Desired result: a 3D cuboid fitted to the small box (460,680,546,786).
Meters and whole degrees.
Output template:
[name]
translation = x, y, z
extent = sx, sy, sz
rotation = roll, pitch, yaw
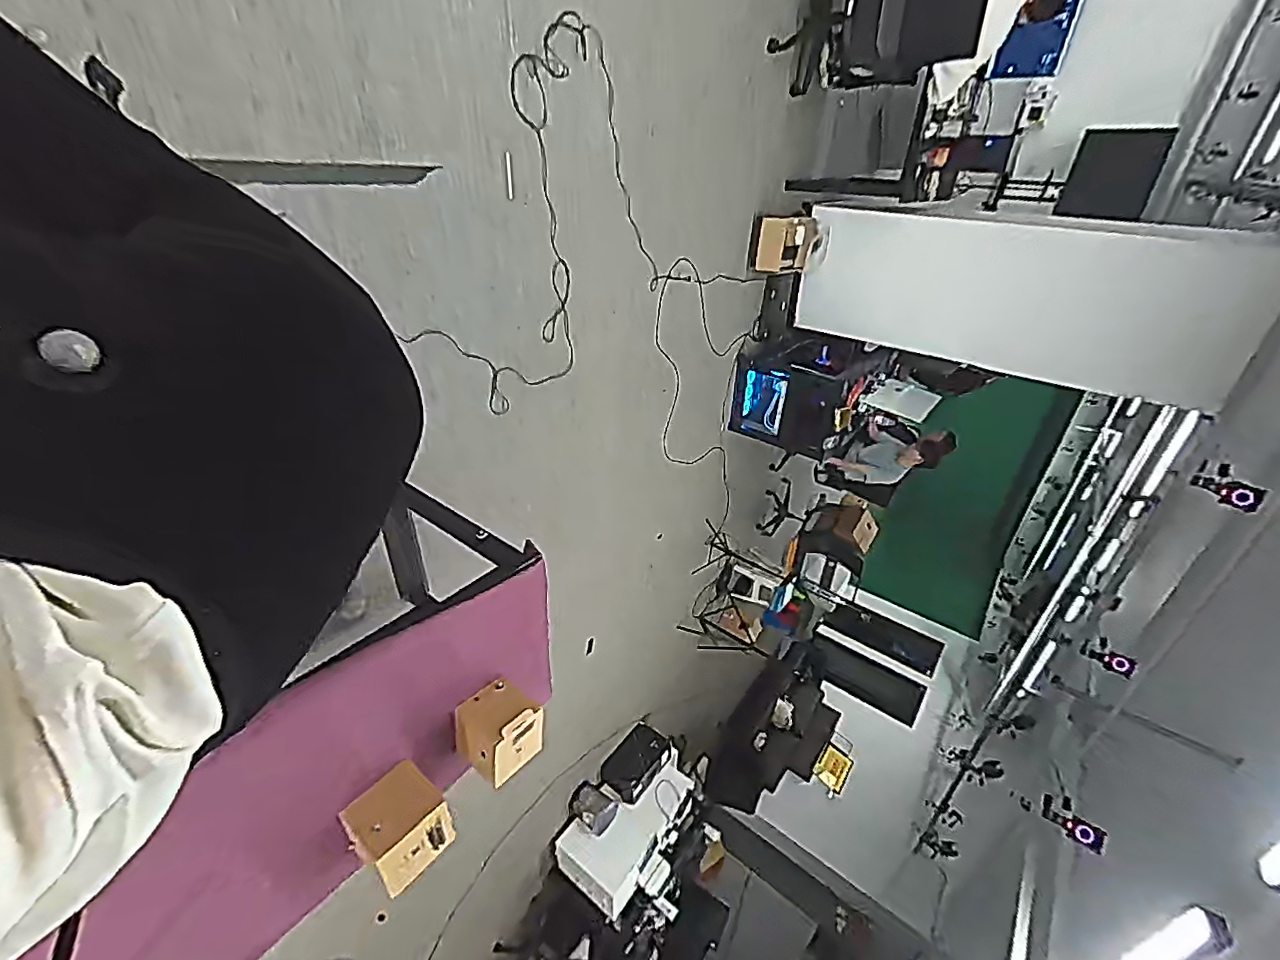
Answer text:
[small box]
translation = -0.377, 0.683, 1.488
extent = 0.168, 0.176, 0.179
rotation = -26, 131, -47
